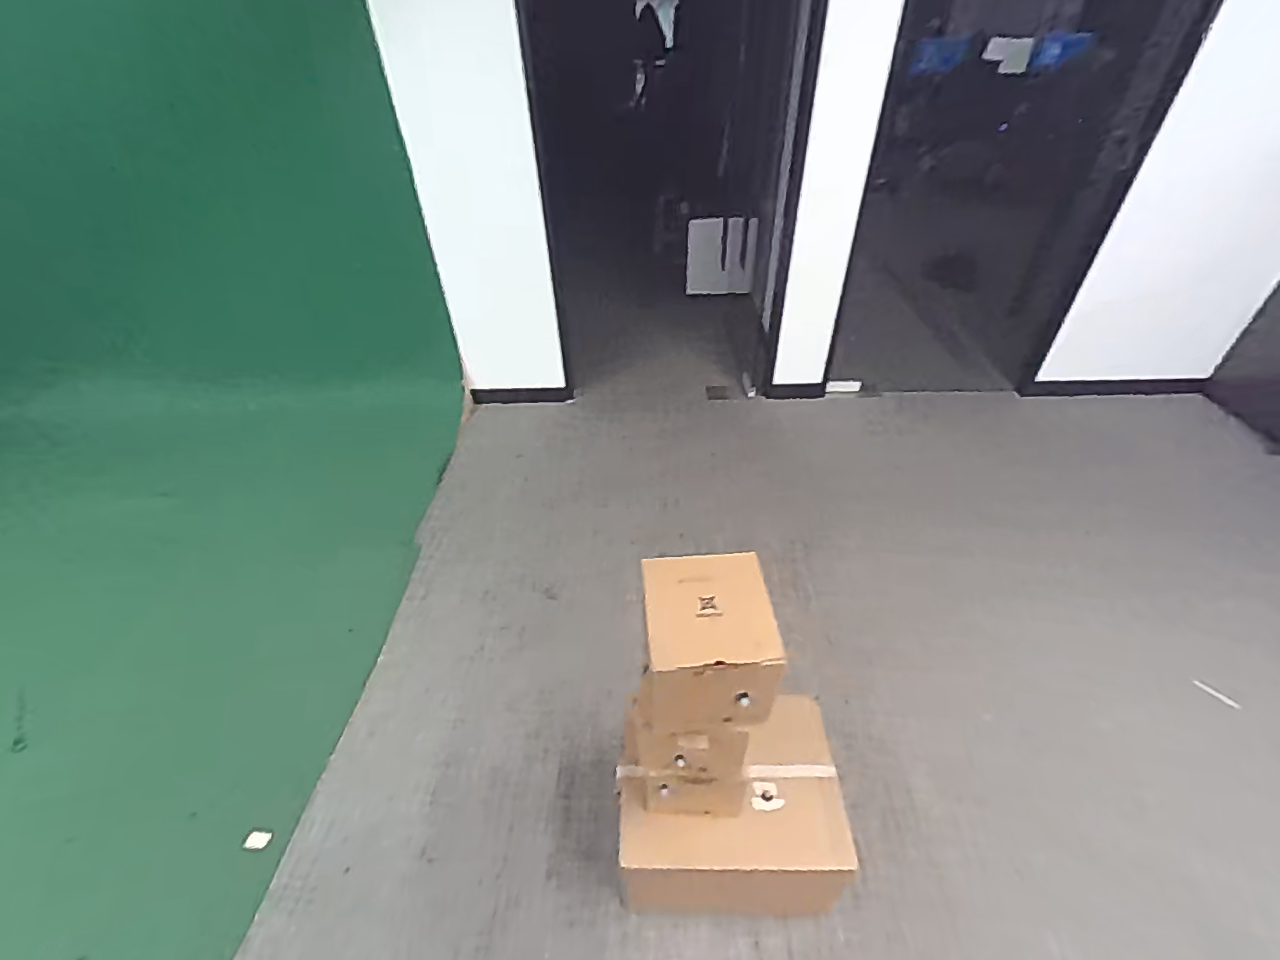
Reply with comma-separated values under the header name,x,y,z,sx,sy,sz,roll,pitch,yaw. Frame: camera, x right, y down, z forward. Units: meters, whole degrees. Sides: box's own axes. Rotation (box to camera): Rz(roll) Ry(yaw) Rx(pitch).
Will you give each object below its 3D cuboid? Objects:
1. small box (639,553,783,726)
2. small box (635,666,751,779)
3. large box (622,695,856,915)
name,x,y,z,sx,sy,sz,roll,pitch,yaw
small box,0.087,0.226,0.755,0.168,0.176,0.179,-2,40,-3
small box,0.083,0.345,0.864,0.168,0.176,0.179,3,41,5
large box,0.166,0.665,1.114,0.408,0.320,0.320,0,41,1
